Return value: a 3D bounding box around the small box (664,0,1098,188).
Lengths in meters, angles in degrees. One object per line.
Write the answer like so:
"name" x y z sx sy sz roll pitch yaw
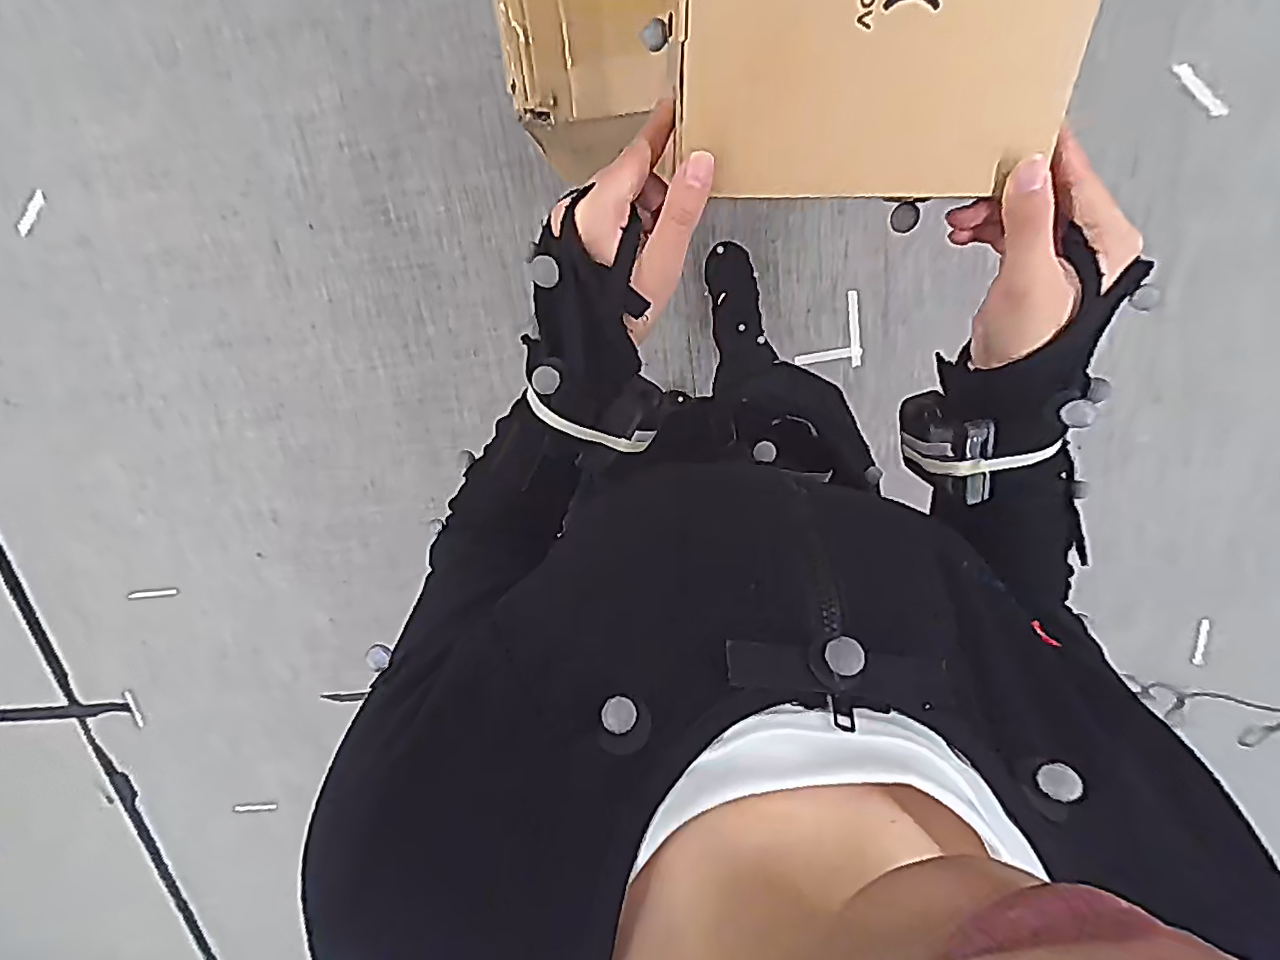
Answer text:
"small box" 0.105 -0.251 0.287 0.179 0.176 0.168 0 118 1
